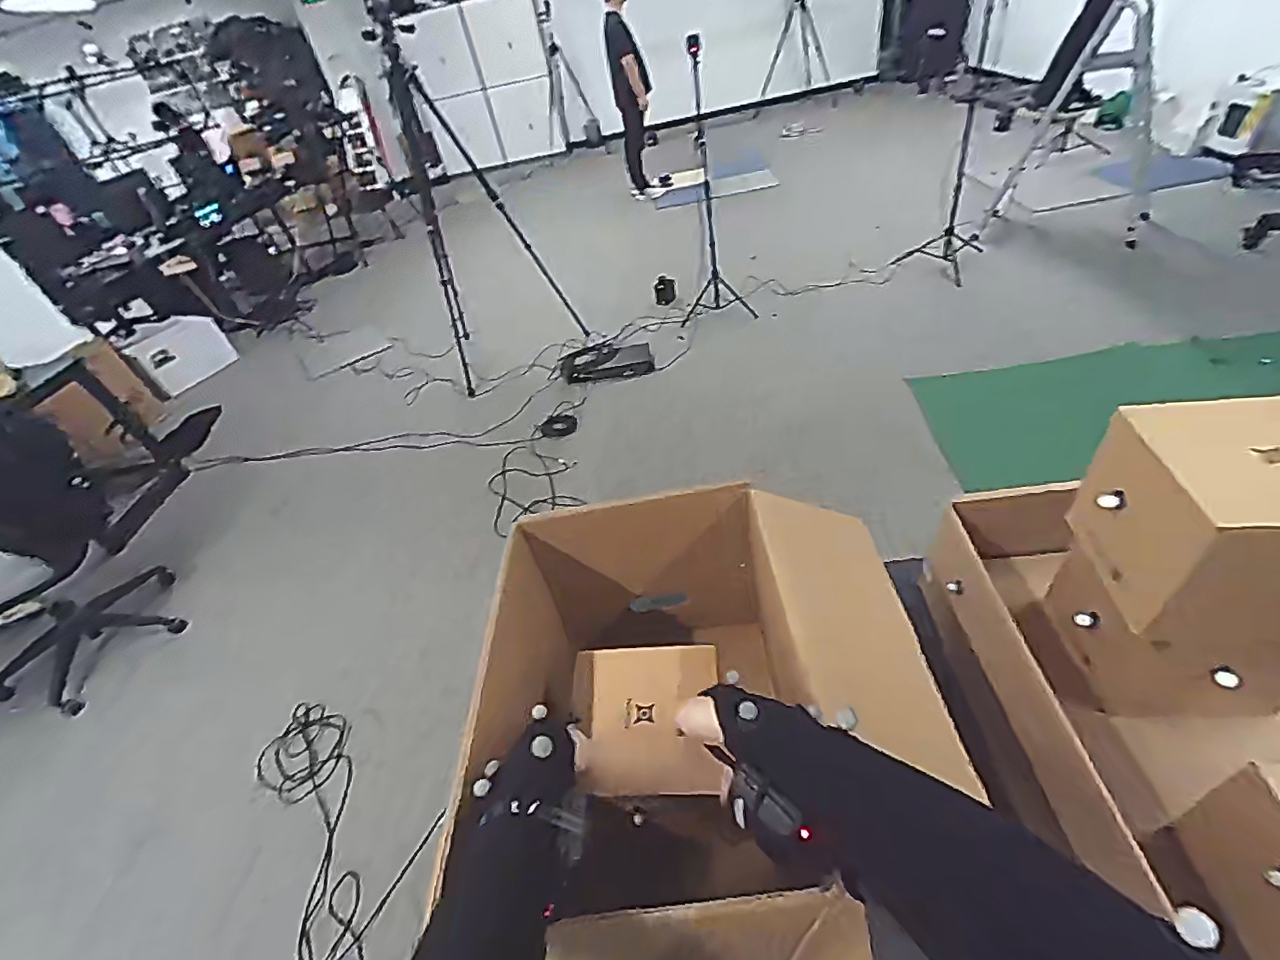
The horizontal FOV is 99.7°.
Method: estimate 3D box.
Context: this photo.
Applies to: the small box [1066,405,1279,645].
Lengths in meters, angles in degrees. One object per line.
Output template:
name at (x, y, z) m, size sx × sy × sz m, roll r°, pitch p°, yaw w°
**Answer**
small box at (0.559, 0.046, 0.528) m, size 0.179 × 0.176 × 0.168 m, roll -2°, pitch 43°, yaw 13°
